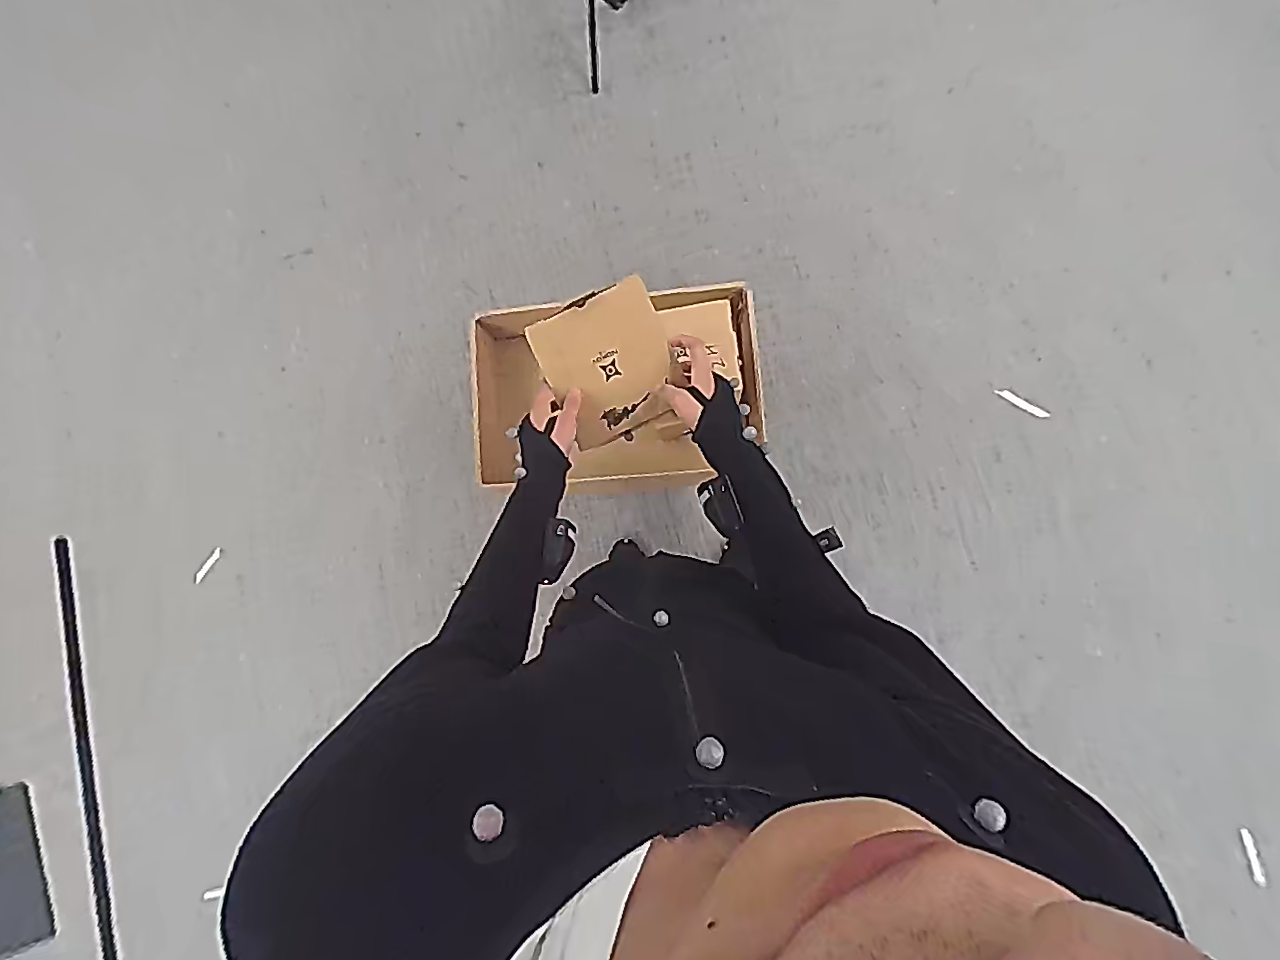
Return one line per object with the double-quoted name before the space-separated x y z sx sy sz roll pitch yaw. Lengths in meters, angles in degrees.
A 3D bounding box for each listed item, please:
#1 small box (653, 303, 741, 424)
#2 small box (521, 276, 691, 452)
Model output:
"small box" 0.087 -0.208 1.012 0.179 0.176 0.168 -8 84 5
"small box" -0.039 -0.150 0.761 0.168 0.176 0.179 -25 93 6
